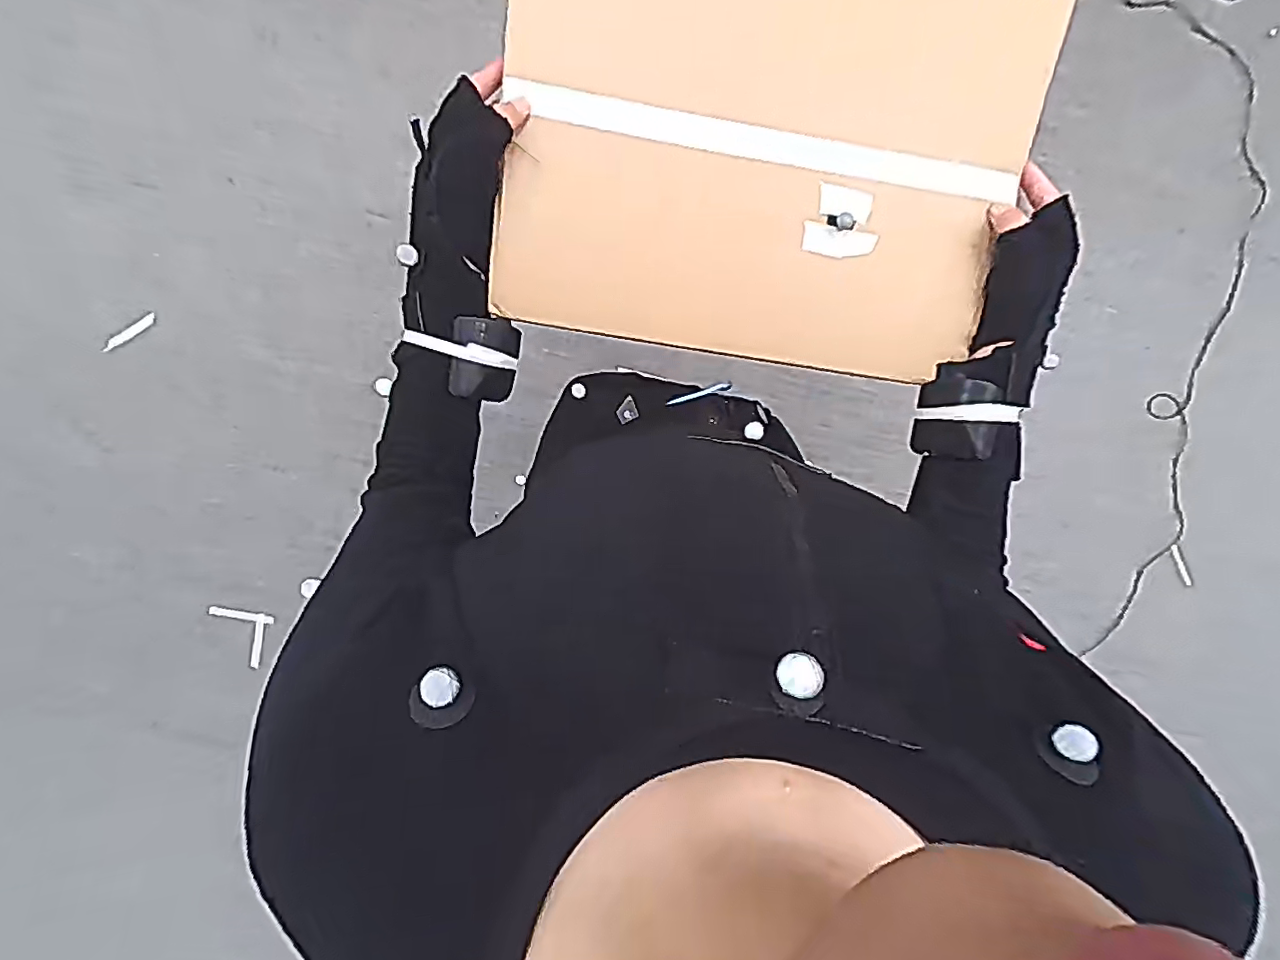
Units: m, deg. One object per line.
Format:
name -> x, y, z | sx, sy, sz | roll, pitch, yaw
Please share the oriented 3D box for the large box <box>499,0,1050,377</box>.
large box -> 0.086, -0.301, 0.570 | 0.408, 0.320, 0.320 | 8, 106, -6
